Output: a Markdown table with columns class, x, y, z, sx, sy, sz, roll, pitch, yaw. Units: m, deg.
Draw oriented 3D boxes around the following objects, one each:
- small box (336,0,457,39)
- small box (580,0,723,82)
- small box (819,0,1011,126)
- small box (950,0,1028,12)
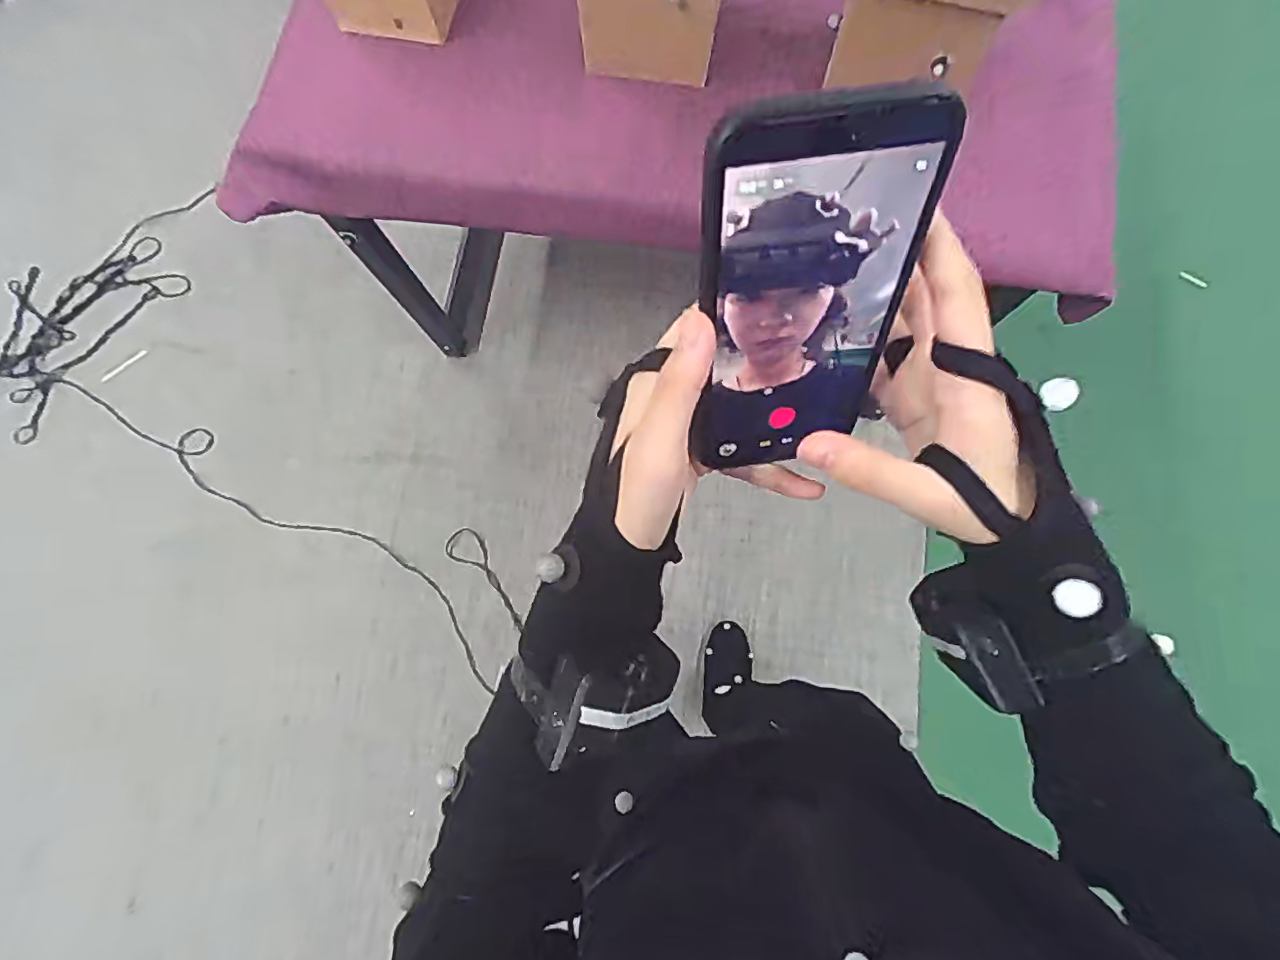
| class | x | y | z | sx | sy | sz | roll | pitch | yaw |
| --- | --- | --- | --- | --- | --- | --- | --- | --- | --- |
| small box | -0.355 | -0.770 | 0.756 | 0.168 | 0.176 | 0.179 | 11 | 79 | 5 |
| small box | 0.023 | -0.676 | 0.721 | 0.179 | 0.176 | 0.168 | 11 | 79 | 5 |
| small box | 0.354 | -0.598 | 0.693 | 0.179 | 0.176 | 0.168 | 17 | 79 | 6 |
| small box | 0.352 | -0.615 | 0.530 | 0.179 | 0.176 | 0.168 | 17 | 79 | 5 |
